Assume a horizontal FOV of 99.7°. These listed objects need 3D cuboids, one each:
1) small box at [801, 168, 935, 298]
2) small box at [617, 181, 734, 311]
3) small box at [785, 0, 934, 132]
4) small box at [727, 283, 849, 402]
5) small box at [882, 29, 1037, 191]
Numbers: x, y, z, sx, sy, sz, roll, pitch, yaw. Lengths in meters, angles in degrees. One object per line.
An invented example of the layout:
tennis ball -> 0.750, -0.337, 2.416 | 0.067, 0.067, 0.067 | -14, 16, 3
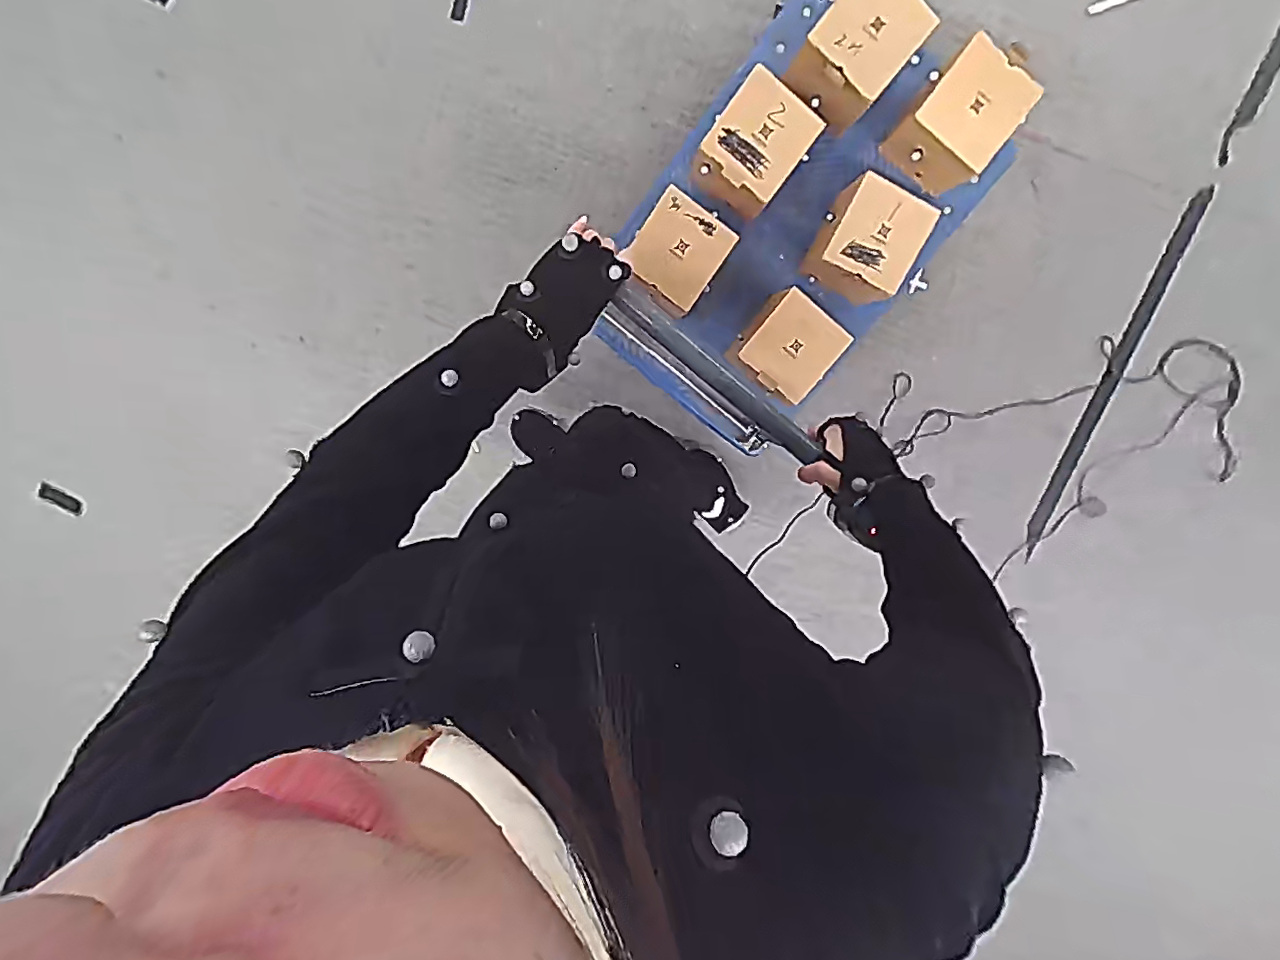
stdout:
small box -> 0.456, -0.496, 1.119 | 0.168, 0.176, 0.179 | 26, 101, -6
small box -> 0.069, -0.468, 1.120 | 0.168, 0.176, 0.179 | 34, 101, -9
small box -> 0.408, -0.826, 1.040 | 0.168, 0.176, 0.179 | 40, 101, -9
small box -> 0.305, -0.291, 1.166 | 0.168, 0.176, 0.179 | 38, 99, -9
small box -> 0.612, -0.714, 1.071 | 0.168, 0.176, 0.179 | 35, 100, -8
